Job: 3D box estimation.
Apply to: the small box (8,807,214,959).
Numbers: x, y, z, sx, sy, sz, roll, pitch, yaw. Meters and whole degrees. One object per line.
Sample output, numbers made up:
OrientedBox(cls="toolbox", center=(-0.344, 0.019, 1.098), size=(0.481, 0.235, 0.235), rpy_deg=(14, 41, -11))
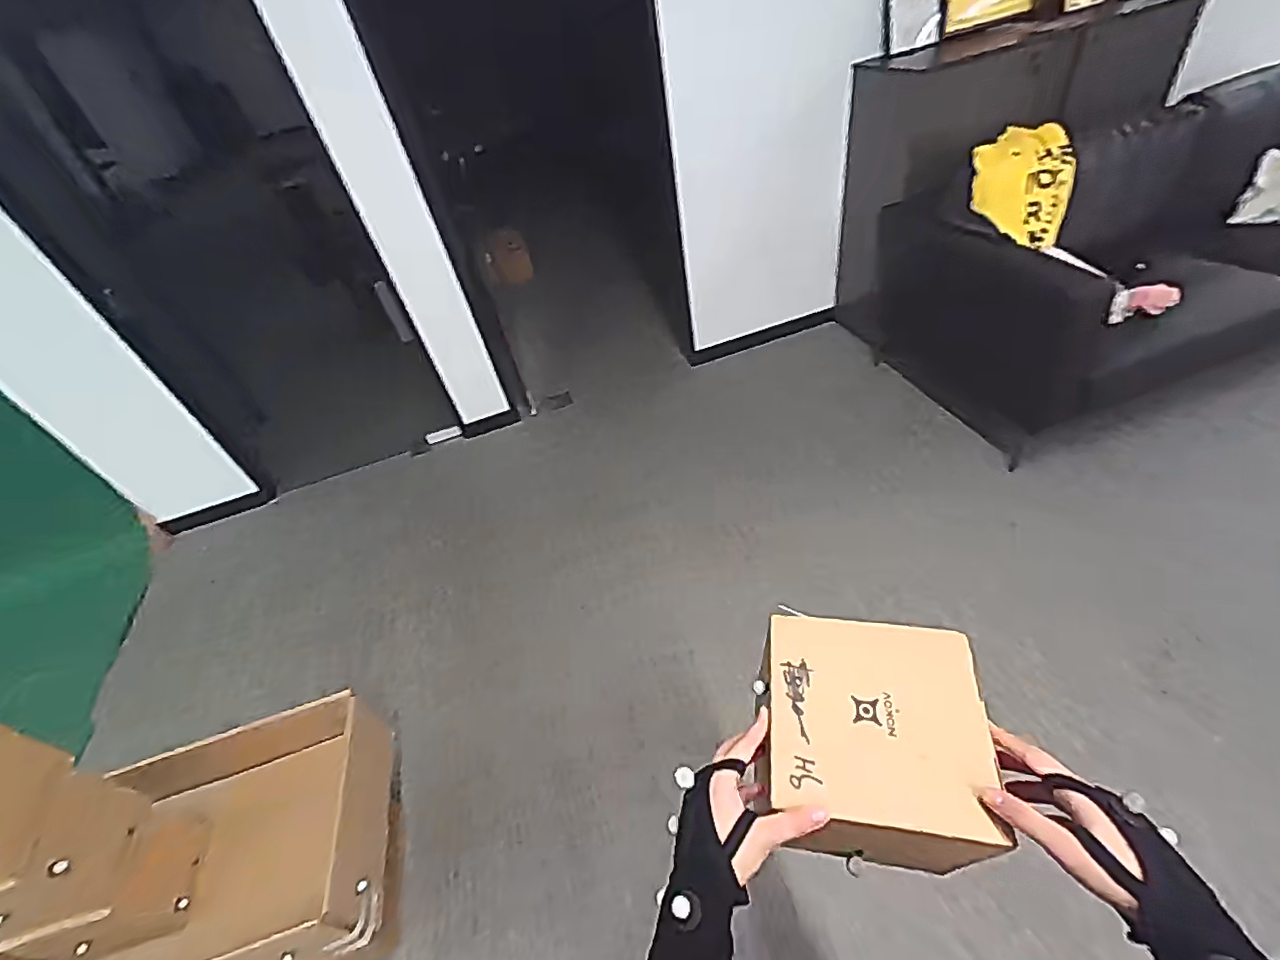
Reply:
OrientedBox(cls="small box", center=(-0.930, 0.727, 0.977), size=(0.179, 0.176, 0.168), rpy_deg=(-17, 42, -4))

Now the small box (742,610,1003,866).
OrientedBox(cls="small box", center=(0.193, 0.244, 0.509), size=(0.179, 0.176, 0.168), rpy_deg=(3, 47, 9))
